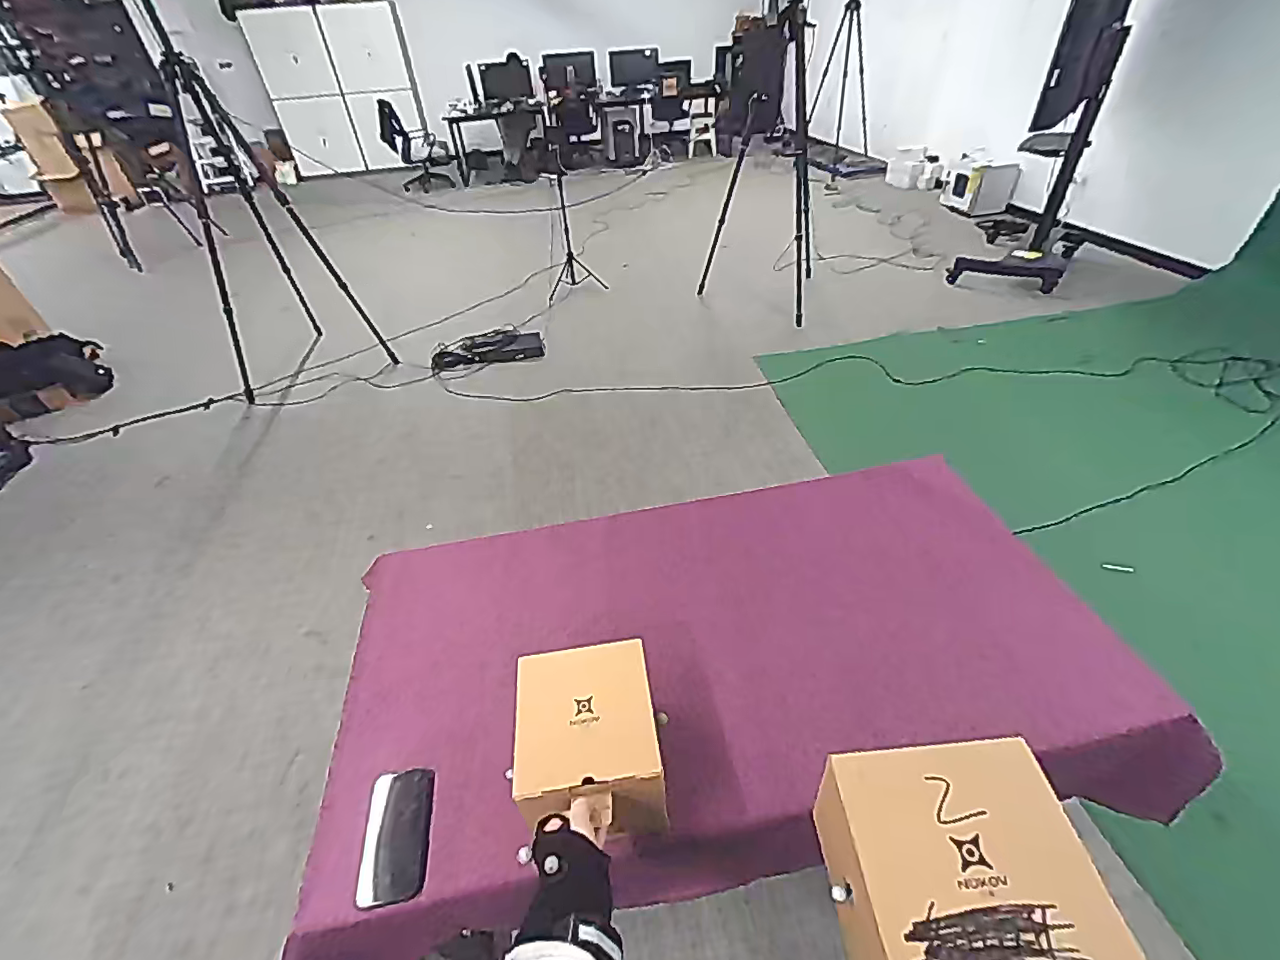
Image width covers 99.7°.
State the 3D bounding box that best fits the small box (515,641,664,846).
[{"bbox_3d":[-0.063,0.342,0.708,0.168,0.176,0.179,-8,40,-4],"label":"small box"}]
